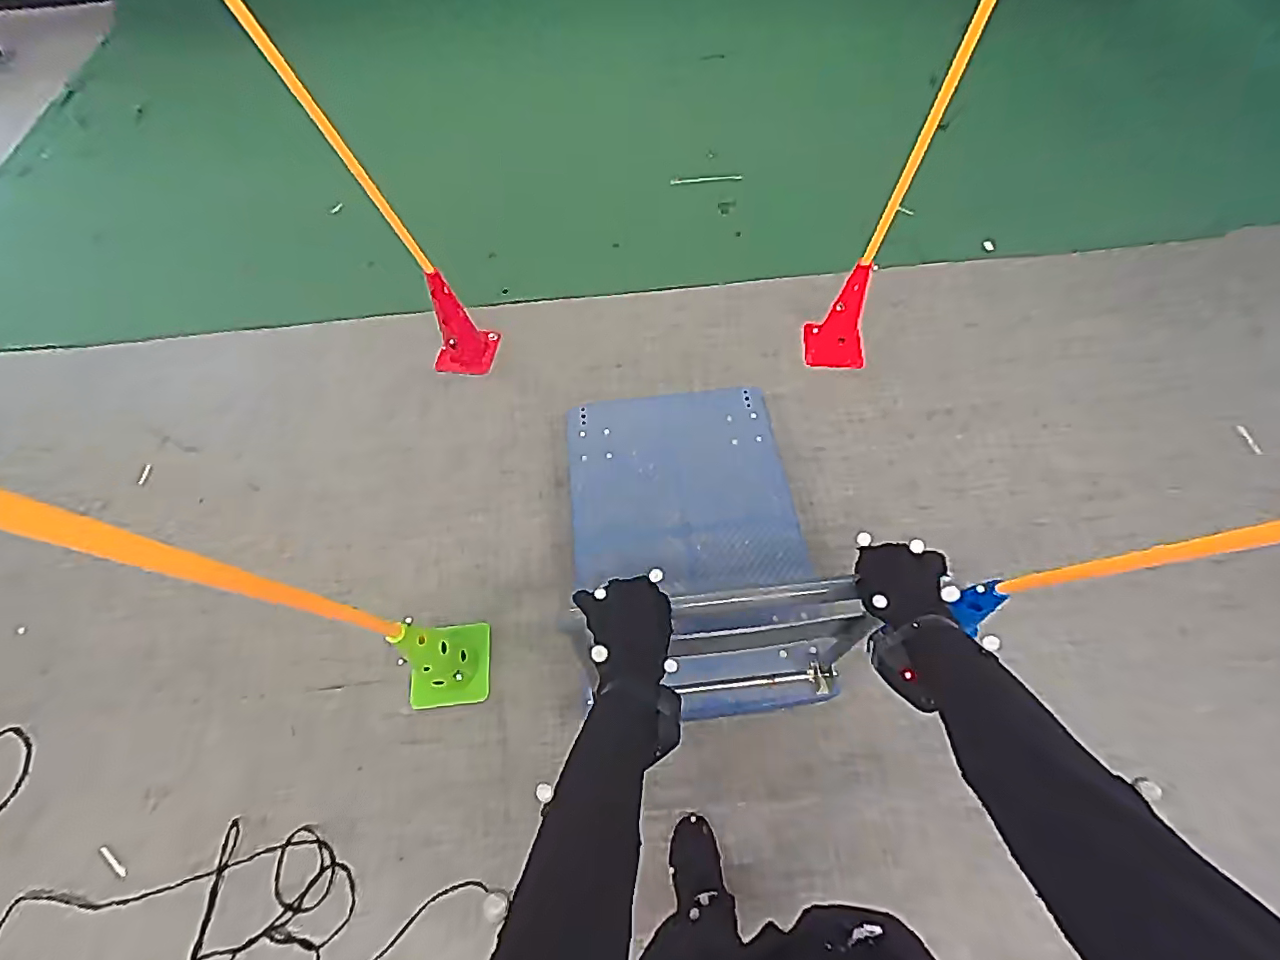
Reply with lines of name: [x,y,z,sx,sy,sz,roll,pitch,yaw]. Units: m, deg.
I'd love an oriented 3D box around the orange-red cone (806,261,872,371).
orange-red cone: [0.669,-0.540,1.729,0.198,0.360,0.199,4,62,6]
